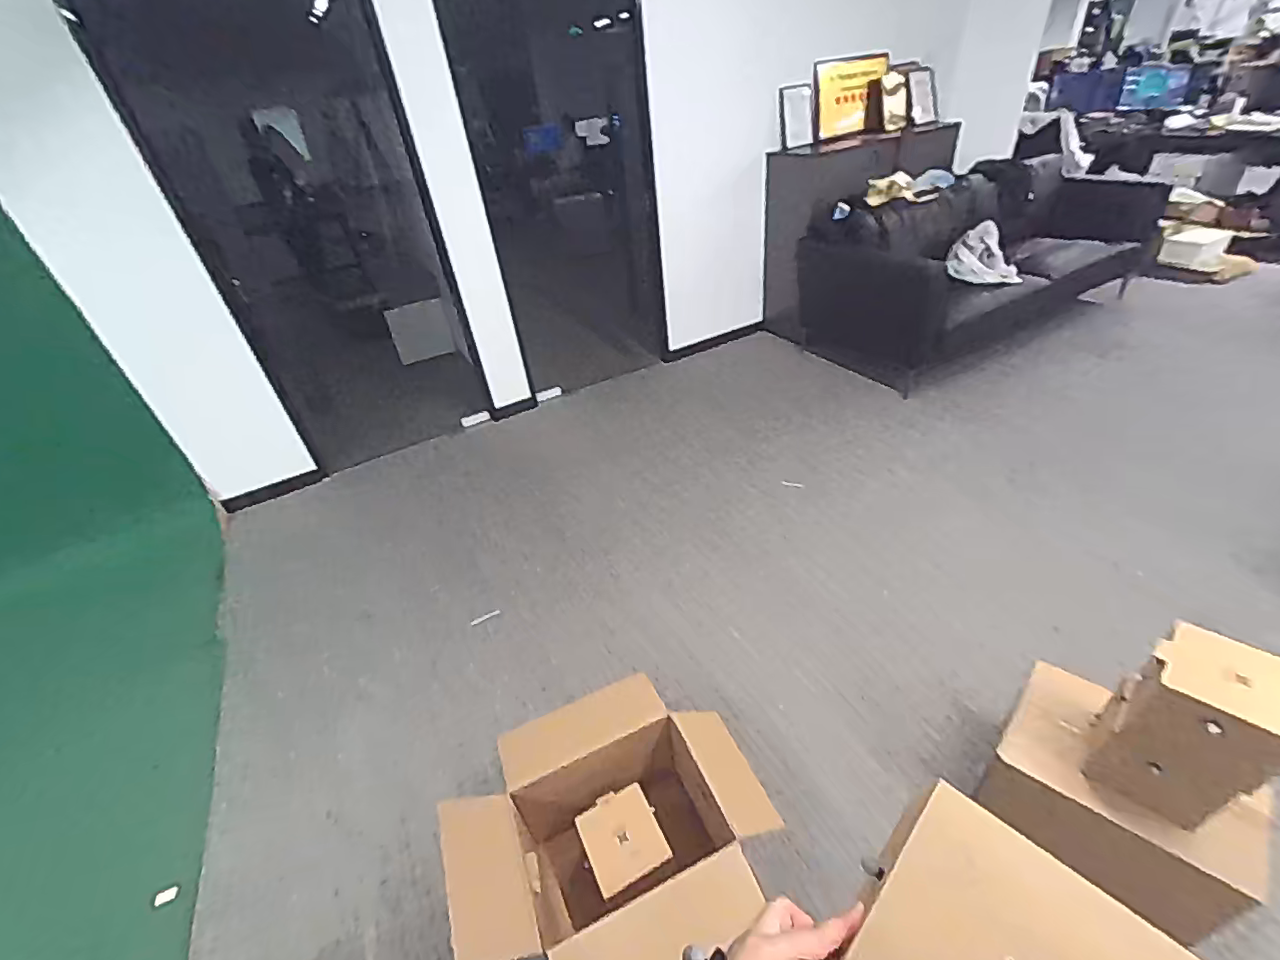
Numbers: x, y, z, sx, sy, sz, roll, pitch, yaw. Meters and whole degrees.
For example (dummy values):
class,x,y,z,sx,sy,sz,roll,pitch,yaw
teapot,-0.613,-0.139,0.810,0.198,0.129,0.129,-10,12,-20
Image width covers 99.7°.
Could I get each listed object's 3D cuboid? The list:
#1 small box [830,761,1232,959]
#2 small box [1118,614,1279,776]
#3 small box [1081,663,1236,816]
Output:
class,x,y,z,sx,sy,sz,roll,pitch,yaw
small box,0.250,0.344,0.391,0.168,0.176,0.179,30,69,34
small box,0.987,0.377,0.942,0.179,0.176,0.168,25,48,38
small box,0.998,0.502,1.046,0.179,0.176,0.168,25,48,37
